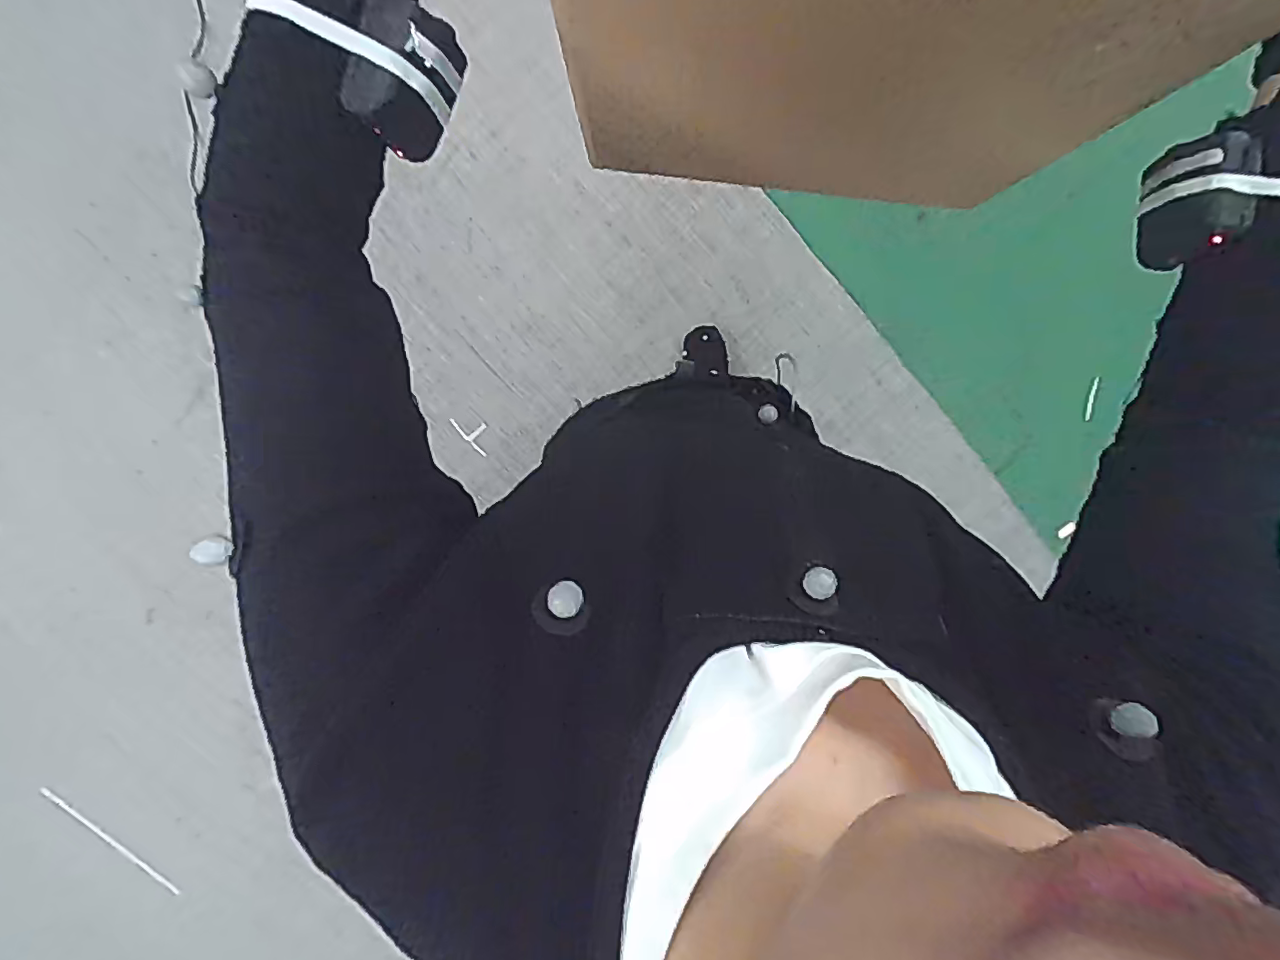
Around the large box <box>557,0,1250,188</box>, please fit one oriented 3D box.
[{"bbox_3d":[0.153,-0.441,0.393,0.408,0.320,0.320,5,100,-1],"label":"large box"}]
